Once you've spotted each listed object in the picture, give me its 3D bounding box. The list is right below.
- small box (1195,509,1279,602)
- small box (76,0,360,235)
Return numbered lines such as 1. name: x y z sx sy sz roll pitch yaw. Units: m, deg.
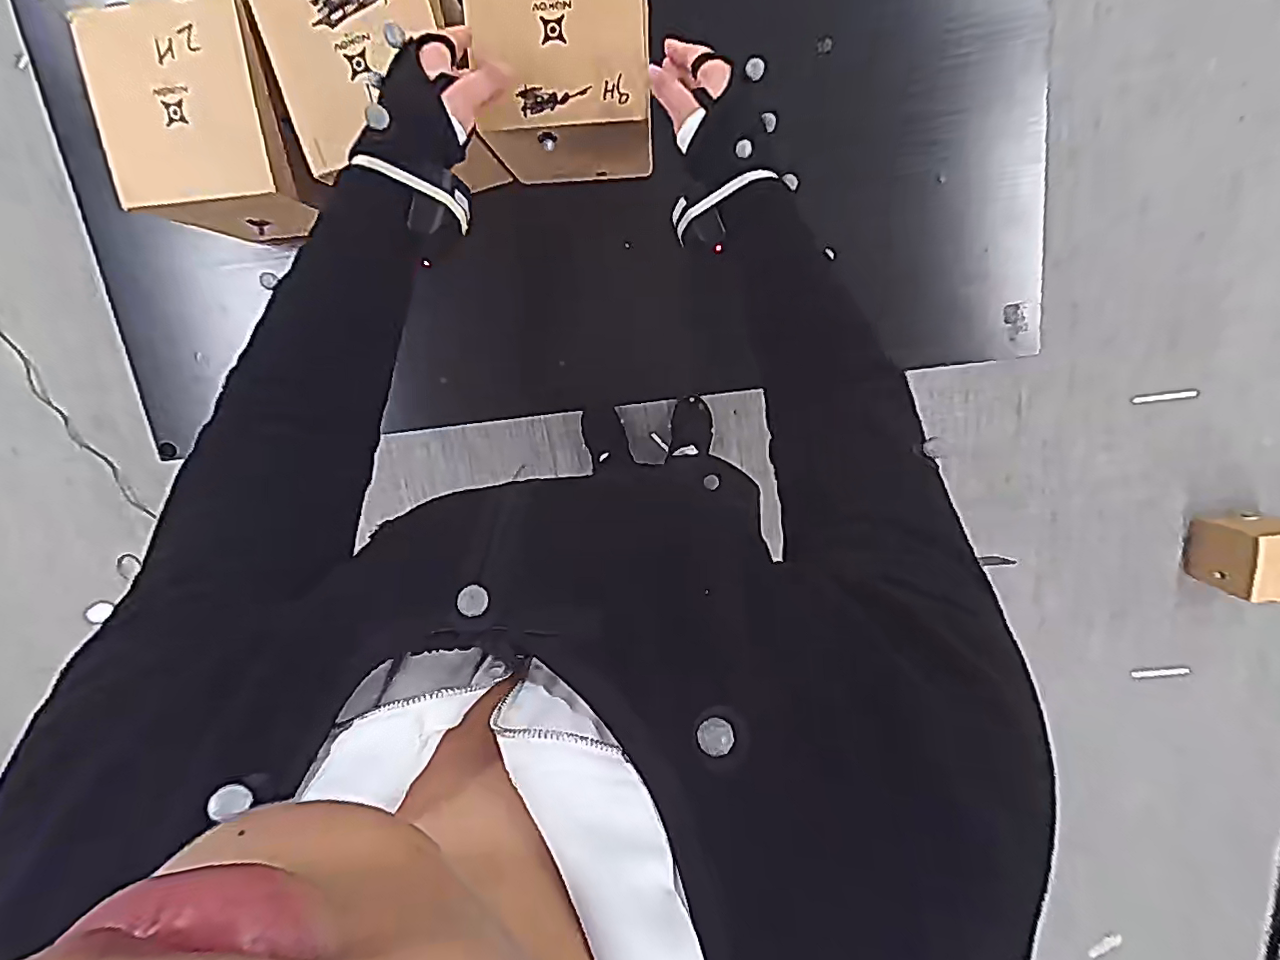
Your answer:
1. small box: 1.567 0.186 1.364 0.168 0.176 0.179 -7 102 4
2. small box: -0.443 -0.383 0.603 0.168 0.176 0.179 -4 102 3
